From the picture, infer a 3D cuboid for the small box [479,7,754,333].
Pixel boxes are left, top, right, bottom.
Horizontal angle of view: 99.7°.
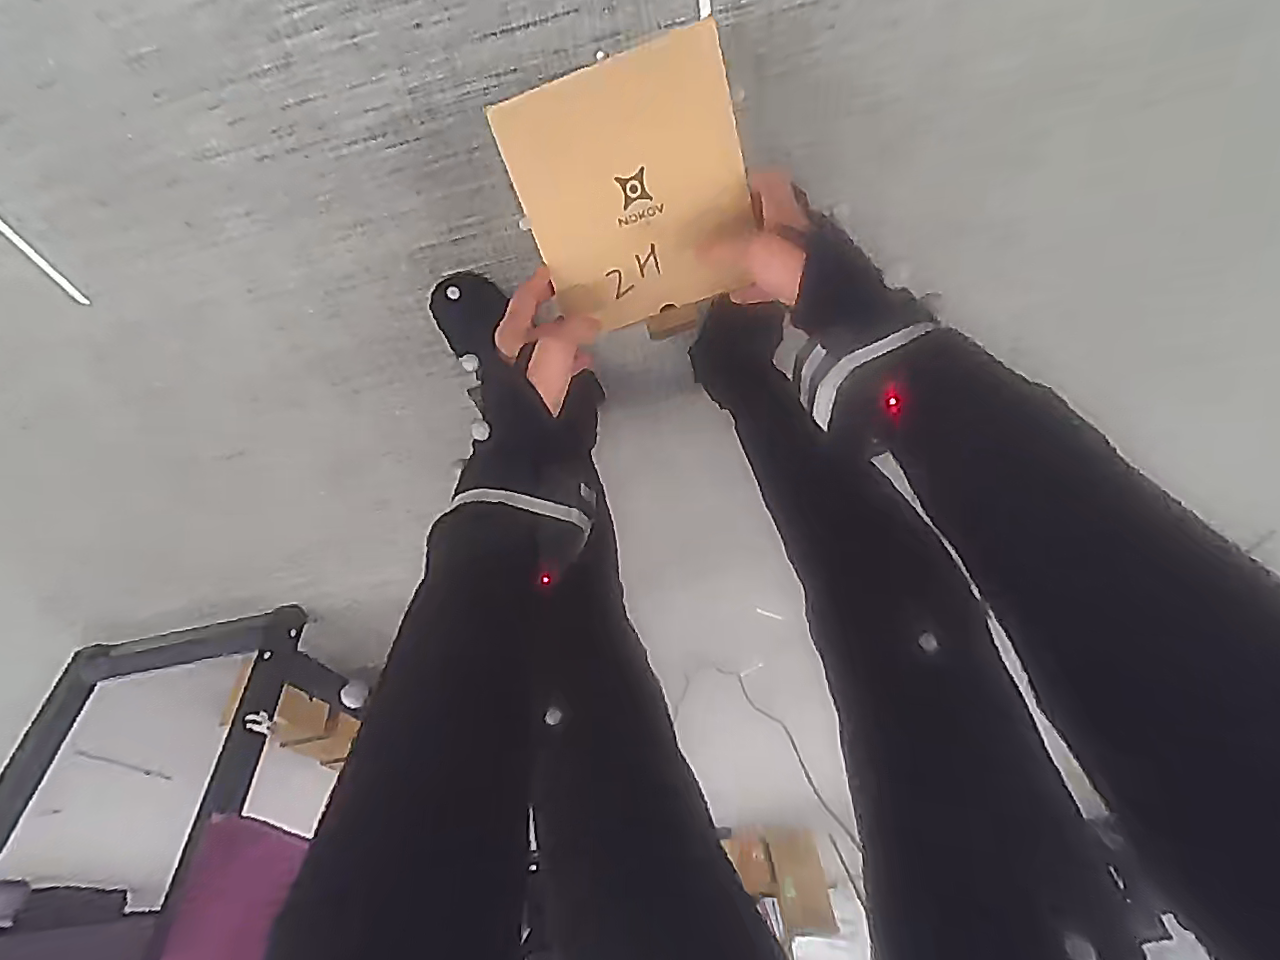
[{"bbox_3d":[-0.013,-0.255,0.467,0.168,0.176,0.179,-15,123,8],"label":"small box"}]
